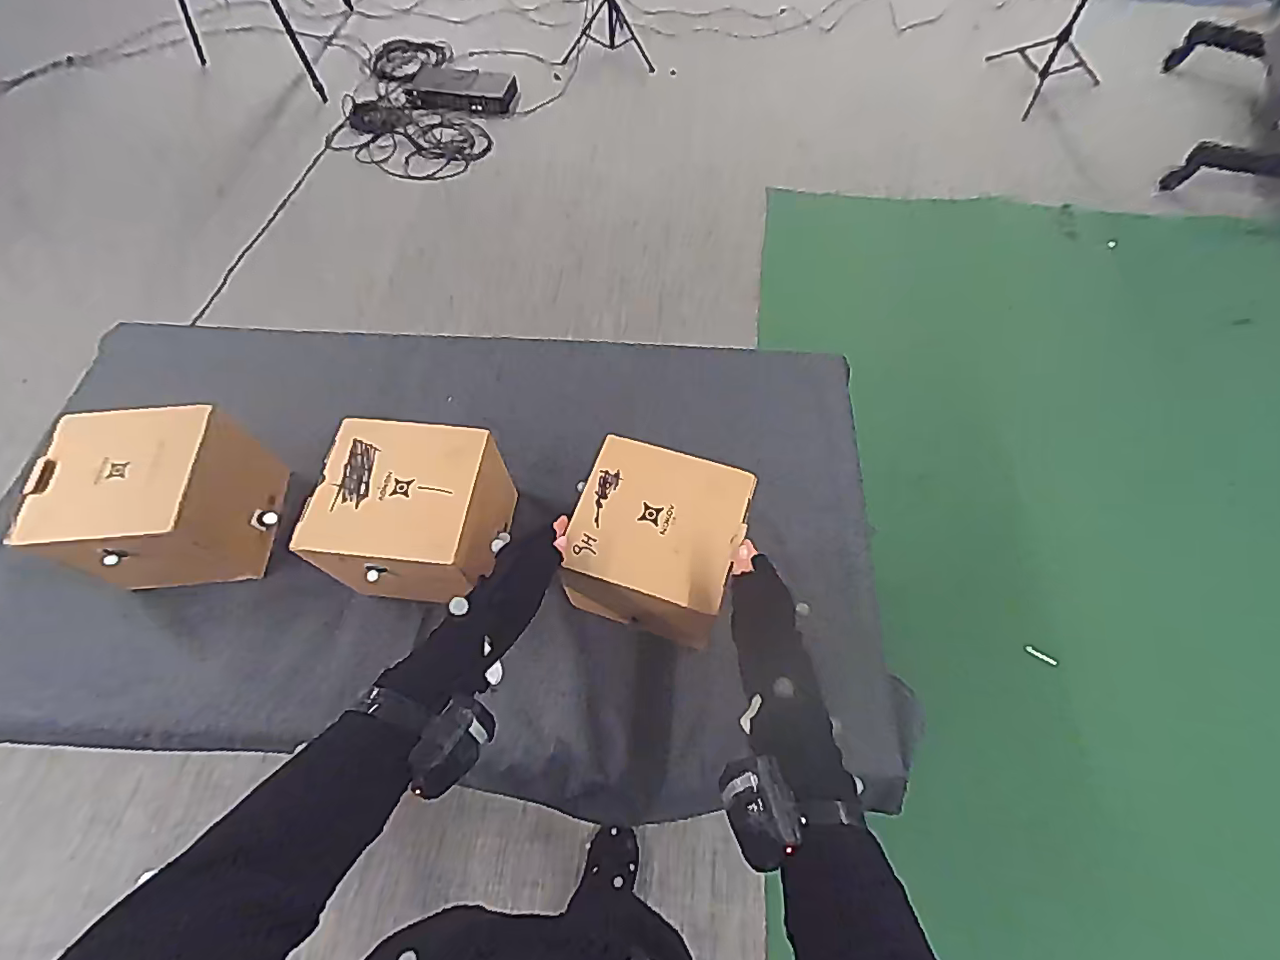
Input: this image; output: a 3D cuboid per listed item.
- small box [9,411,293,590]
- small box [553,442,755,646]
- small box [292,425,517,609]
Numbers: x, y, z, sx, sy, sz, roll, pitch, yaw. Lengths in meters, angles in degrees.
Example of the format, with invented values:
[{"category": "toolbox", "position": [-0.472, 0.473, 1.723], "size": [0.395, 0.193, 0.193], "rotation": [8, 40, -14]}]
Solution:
[{"category": "small box", "position": [-0.582, 0.033, 0.675], "size": [0.179, 0.176, 0.168], "rotation": [-5, 64, -3]}, {"category": "small box", "position": [0.019, 0.084, 0.641], "size": [0.179, 0.176, 0.168], "rotation": [17, 64, 9]}, {"category": "small box", "position": [-0.266, 0.052, 0.660], "size": [0.179, 0.176, 0.168], "rotation": [5, 63, 3]}]
